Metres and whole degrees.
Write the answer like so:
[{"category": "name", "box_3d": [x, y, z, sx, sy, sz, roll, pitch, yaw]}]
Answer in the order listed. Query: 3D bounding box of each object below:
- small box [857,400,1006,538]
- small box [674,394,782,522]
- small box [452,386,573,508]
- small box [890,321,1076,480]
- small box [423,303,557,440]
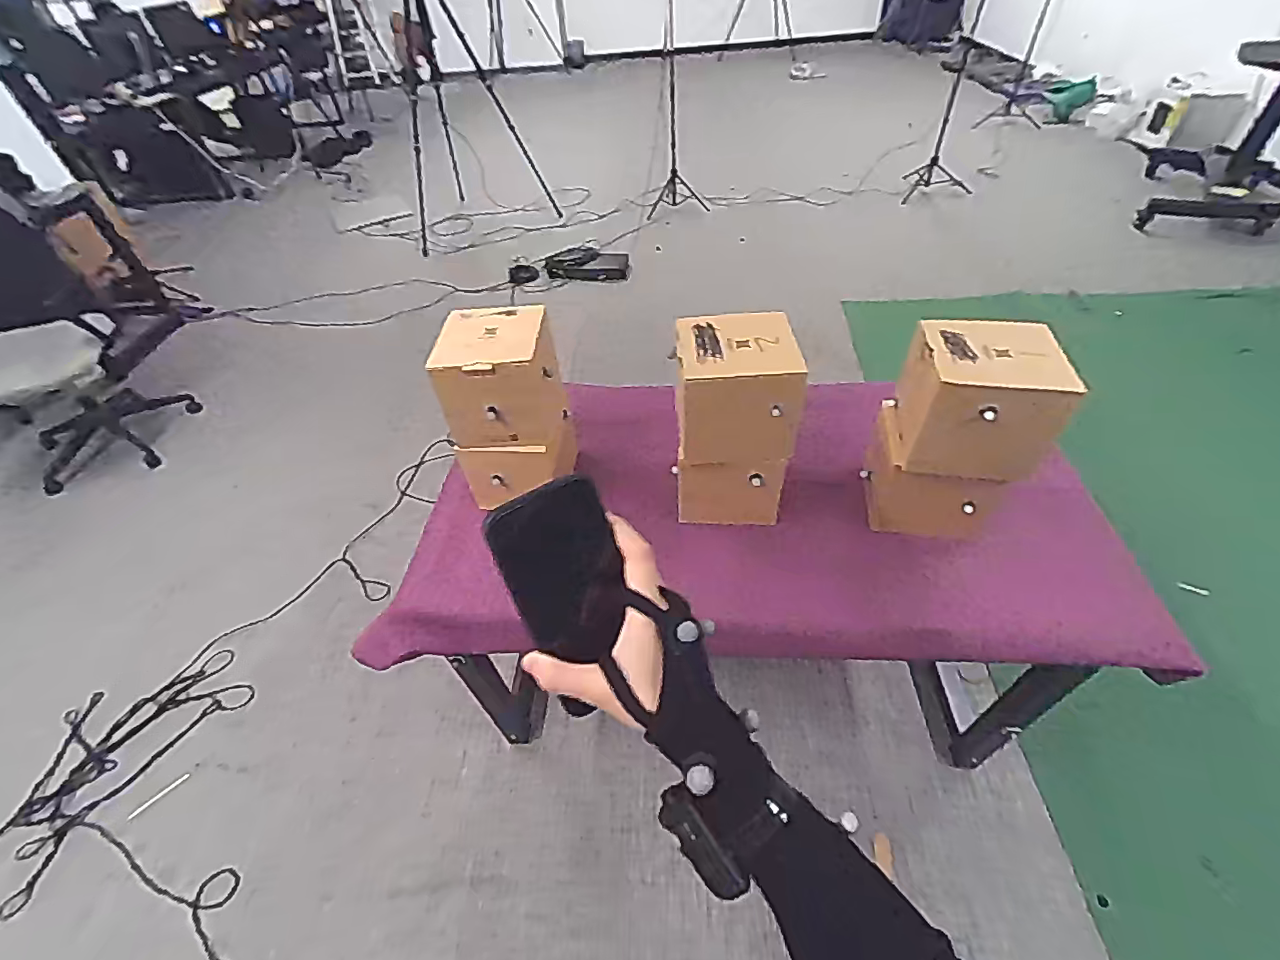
[{"category": "small box", "box_3d": [0.490, -0.017, 0.937, 0.179, 0.176, 0.168, 6, 47, 11]}, {"category": "small box", "box_3d": [0.153, -0.037, 0.983, 0.179, 0.176, 0.168, 1, 47, 6]}, {"category": "small box", "box_3d": [-0.233, -0.062, 1.041, 0.168, 0.176, 0.179, 2, 47, 7]}, {"category": "small box", "box_3d": [0.487, -0.117, 0.807, 0.179, 0.176, 0.168, 6, 47, 10]}, {"category": "small box", "box_3d": [-0.242, -0.181, 0.927, 0.168, 0.176, 0.179, -1, 47, 3]}]
